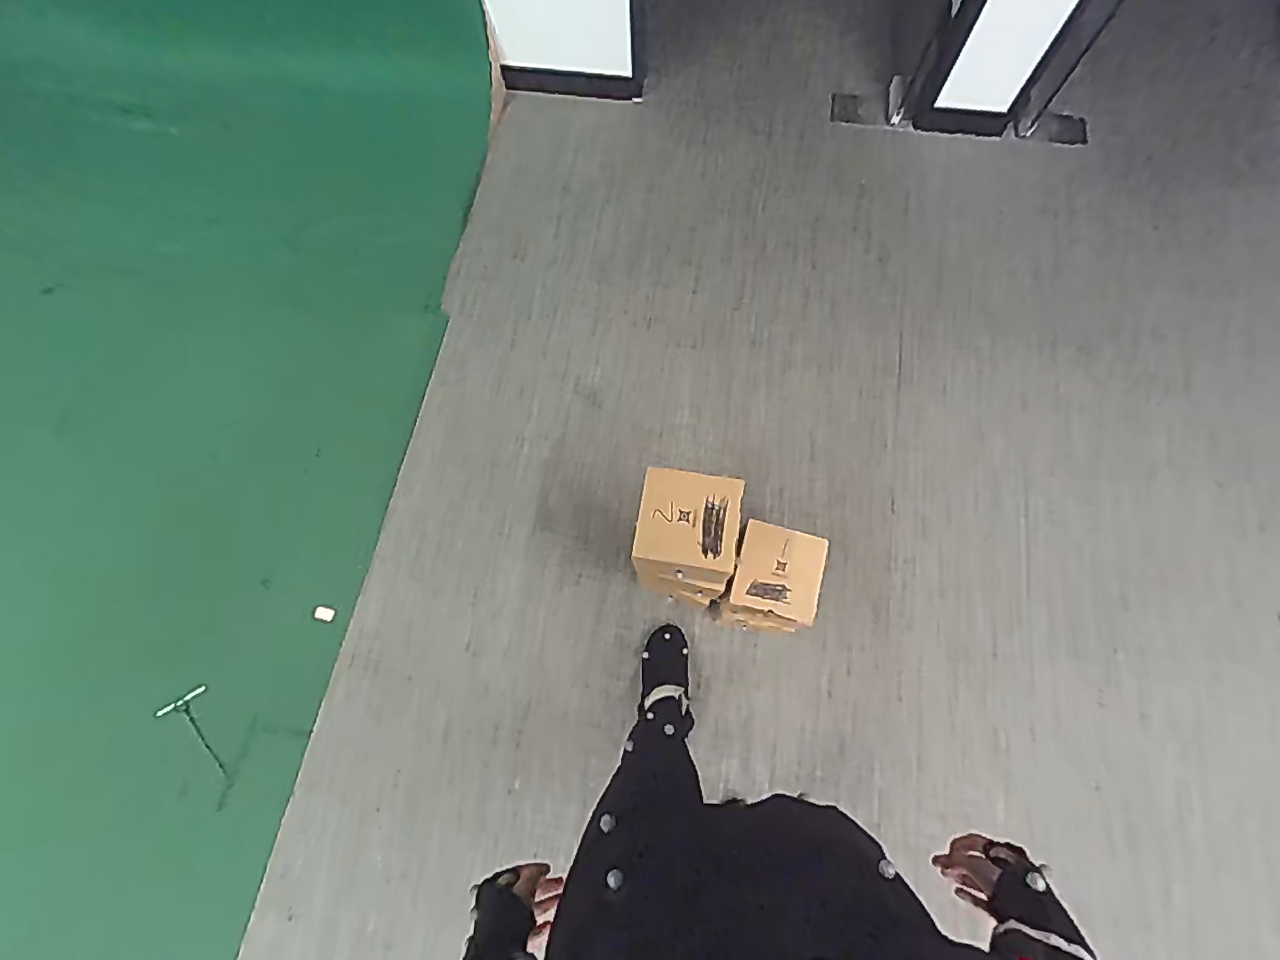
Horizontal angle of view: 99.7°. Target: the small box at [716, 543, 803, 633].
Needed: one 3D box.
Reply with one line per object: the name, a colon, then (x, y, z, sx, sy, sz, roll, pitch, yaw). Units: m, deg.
small box: (0.278, 0.261, 1.289, 0.168, 0.176, 0.179, 9, 74, 5)
